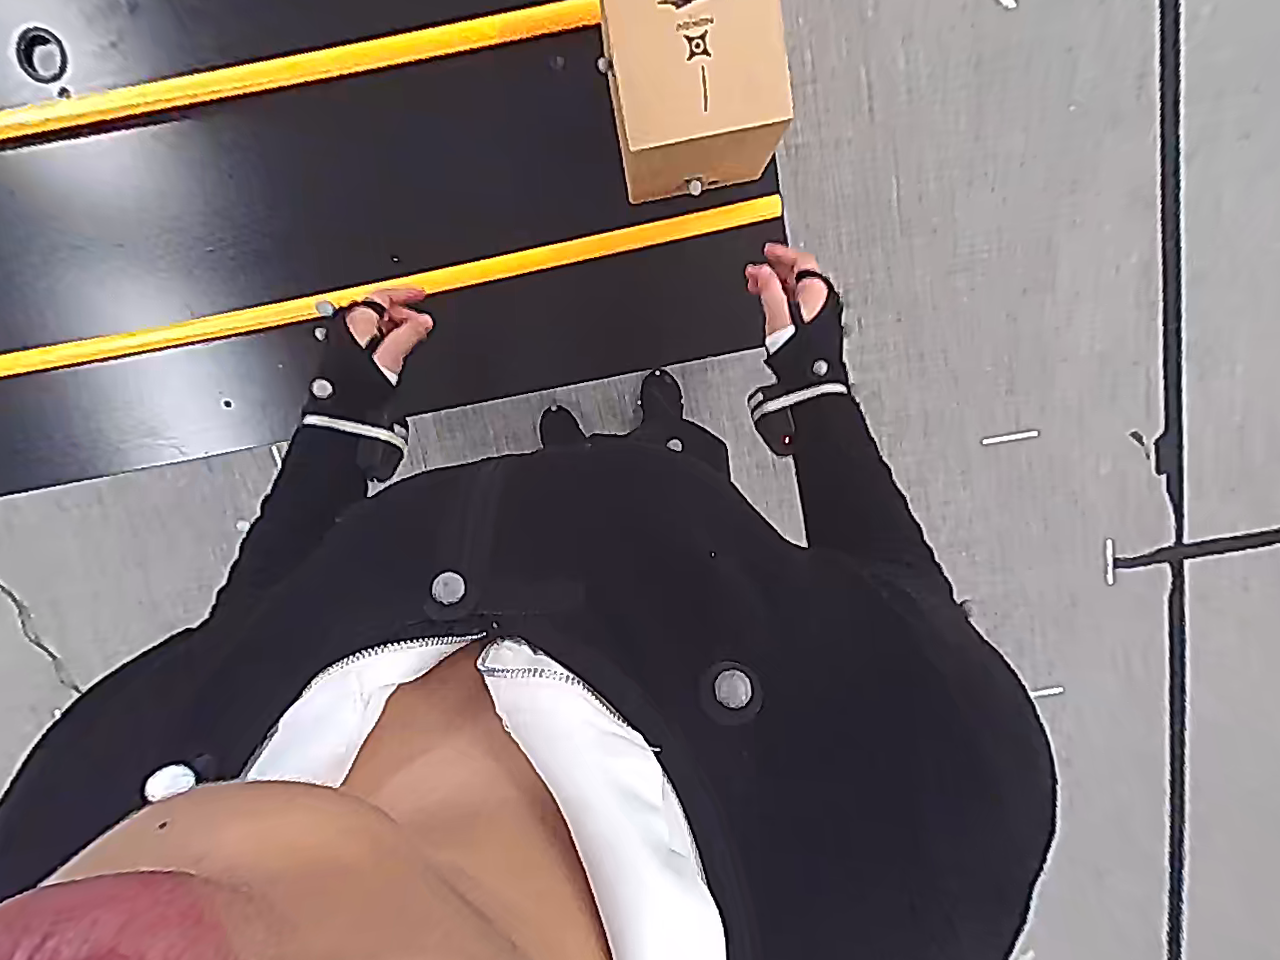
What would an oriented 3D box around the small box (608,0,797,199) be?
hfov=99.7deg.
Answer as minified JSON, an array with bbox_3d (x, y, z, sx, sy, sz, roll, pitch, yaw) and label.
[{"bbox_3d":[0.059,-0.438,0.592,0.168,0.176,0.179,-10,101,2],"label":"small box"}]
